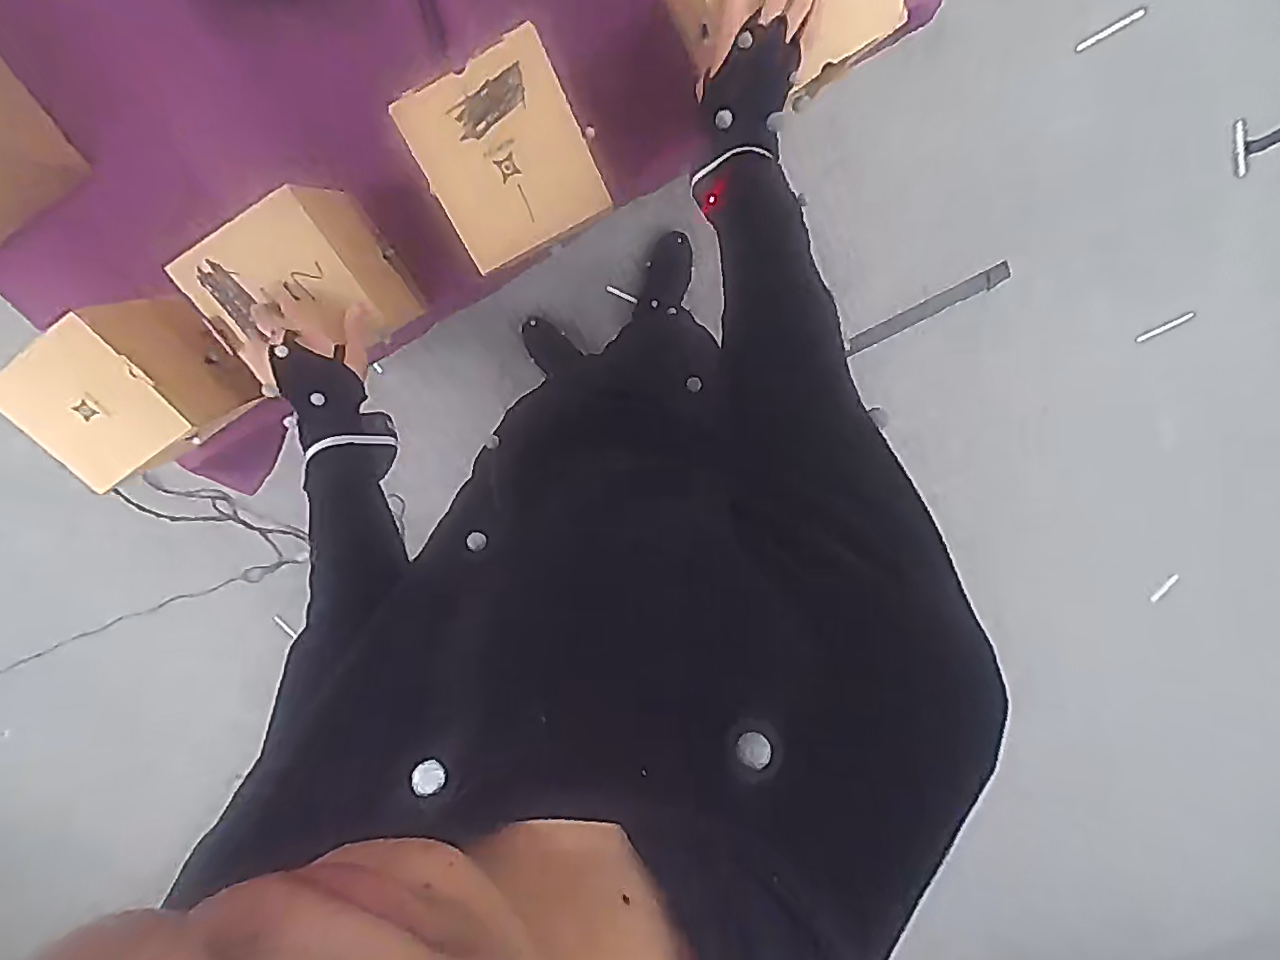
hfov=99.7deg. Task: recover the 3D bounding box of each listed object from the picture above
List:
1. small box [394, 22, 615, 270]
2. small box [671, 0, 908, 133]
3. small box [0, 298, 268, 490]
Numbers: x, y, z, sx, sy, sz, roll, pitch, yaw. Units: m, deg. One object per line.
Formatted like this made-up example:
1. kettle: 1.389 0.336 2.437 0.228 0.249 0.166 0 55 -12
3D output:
1. small box: -0.140 -0.366 0.627 0.168 0.176 0.179 -24 115 9
2. small box: 0.142 -0.506 0.570 0.168 0.176 0.179 -27 113 12
3. small box: -0.657 -0.121 0.723 0.179 0.176 0.168 -31 113 10
